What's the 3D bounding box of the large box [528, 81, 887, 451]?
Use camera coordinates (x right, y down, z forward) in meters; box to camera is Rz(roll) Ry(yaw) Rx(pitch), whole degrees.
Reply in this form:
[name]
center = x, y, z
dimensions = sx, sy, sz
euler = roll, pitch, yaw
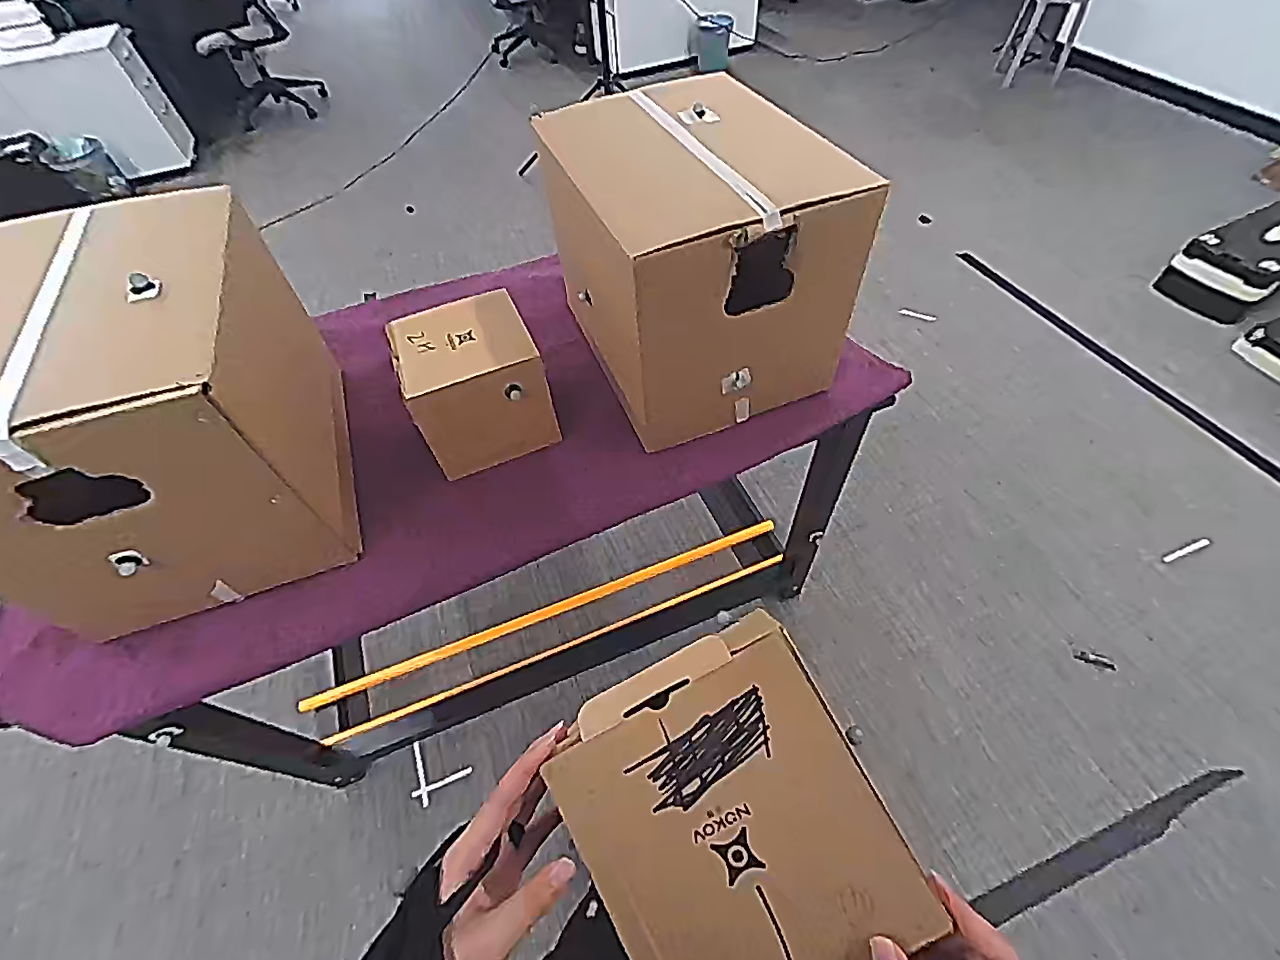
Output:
[large box]
center = 0.069, -0.317, 0.793
dimensions = 0.320, 0.320, 0.408
euler = -20, 54, -11
